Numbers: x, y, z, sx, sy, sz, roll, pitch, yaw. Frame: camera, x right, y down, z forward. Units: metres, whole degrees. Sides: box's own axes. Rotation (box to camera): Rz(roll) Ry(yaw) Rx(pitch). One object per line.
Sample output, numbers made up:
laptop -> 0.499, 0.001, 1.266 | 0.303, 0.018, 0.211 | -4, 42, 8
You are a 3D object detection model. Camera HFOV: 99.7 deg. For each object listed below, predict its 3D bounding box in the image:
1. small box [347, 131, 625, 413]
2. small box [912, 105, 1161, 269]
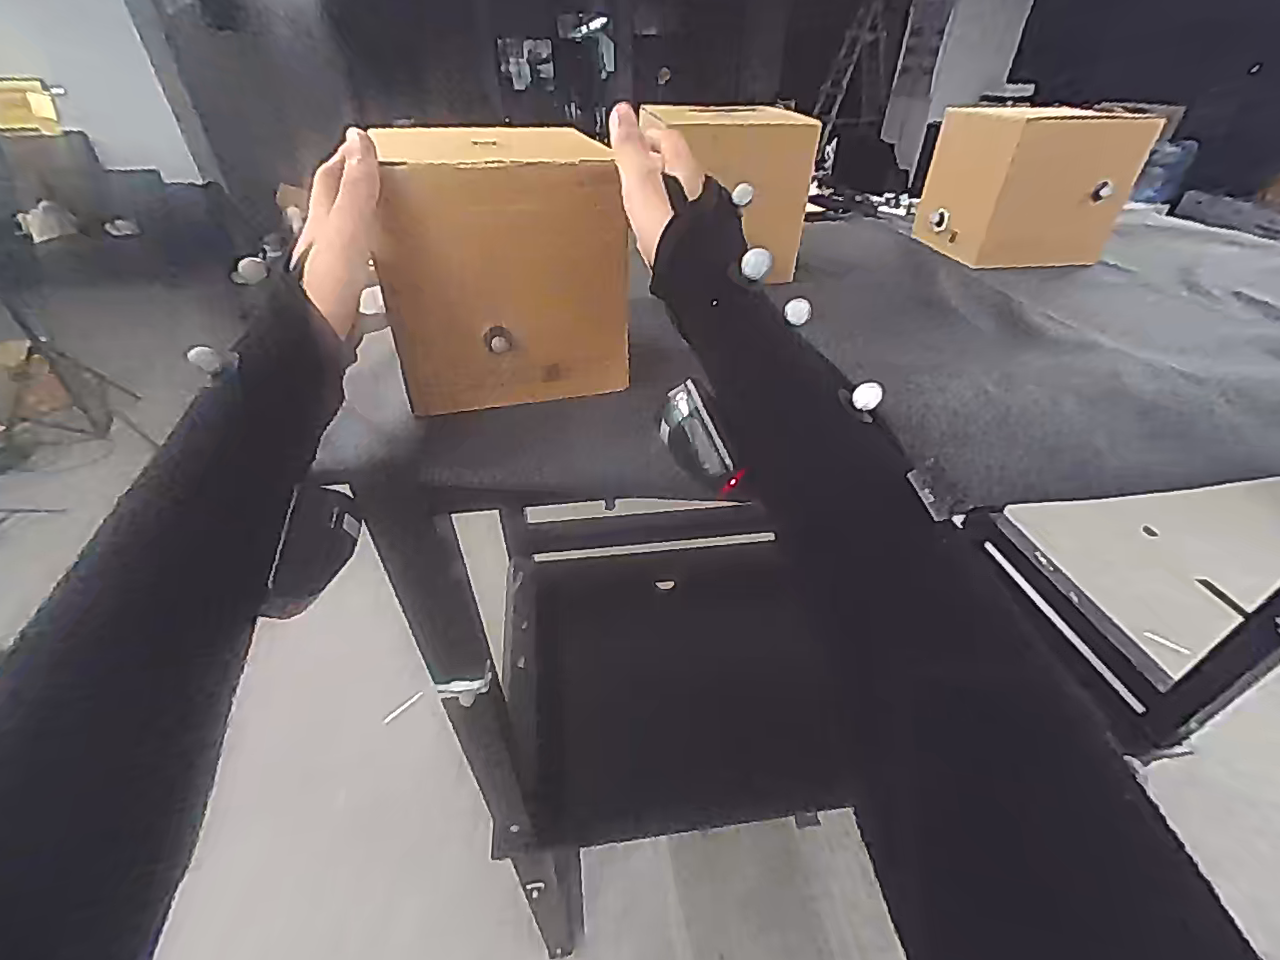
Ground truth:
small box -> -0.114, -0.173, 0.436 | 0.168, 0.176, 0.179 | -10, 39, -14
small box -> 0.502, -0.389, 0.719 | 0.179, 0.176, 0.168 | -3, 37, -5
